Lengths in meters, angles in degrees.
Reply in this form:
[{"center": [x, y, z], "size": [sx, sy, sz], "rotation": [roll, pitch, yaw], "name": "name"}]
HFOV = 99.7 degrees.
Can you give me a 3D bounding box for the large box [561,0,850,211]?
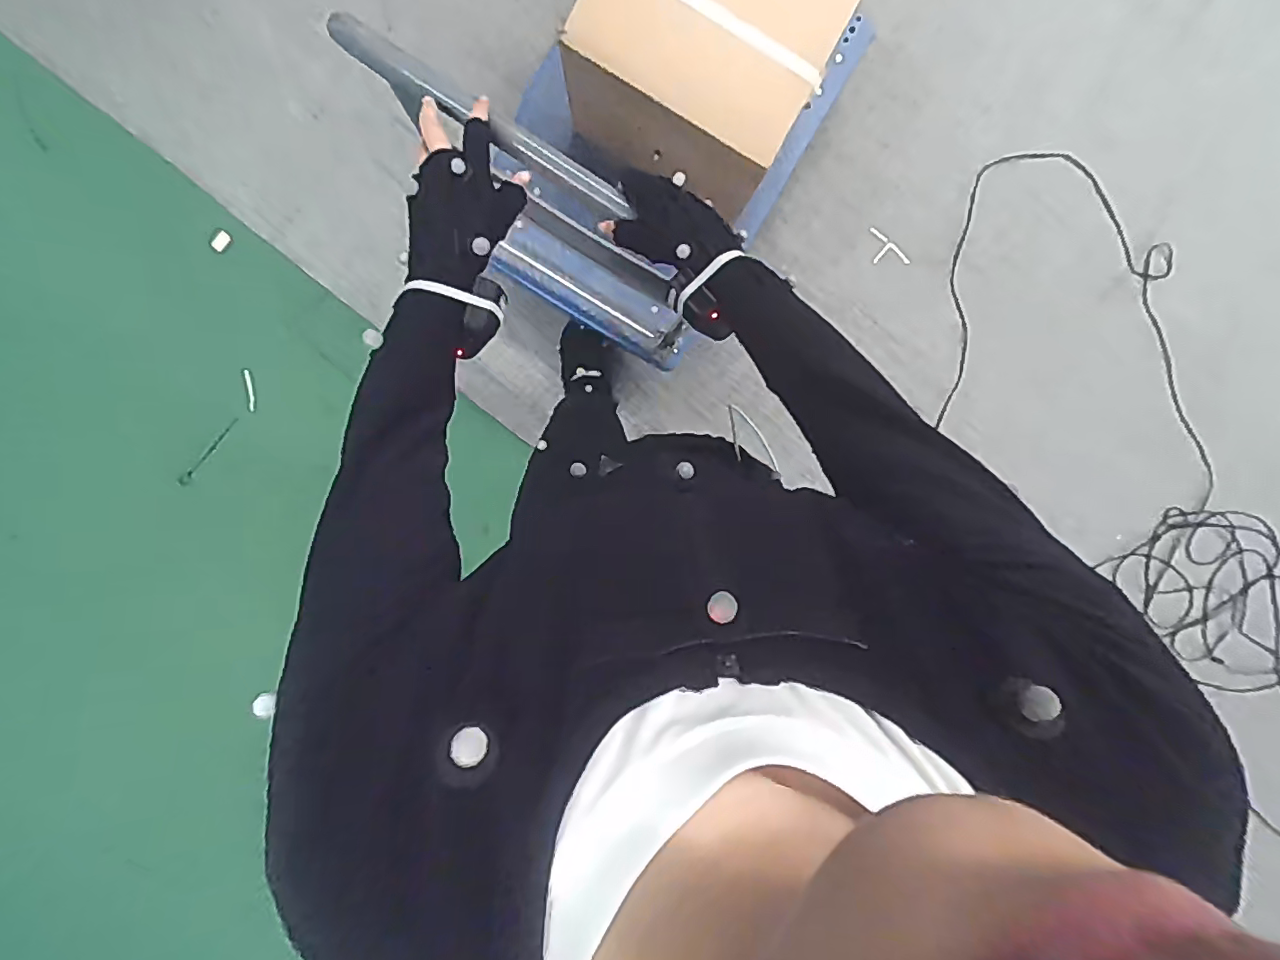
[{"center": [0.112, -0.794, 1.032], "size": [0.408, 0.320, 0.320], "rotation": [28, 97, -5], "name": "large box"}]
